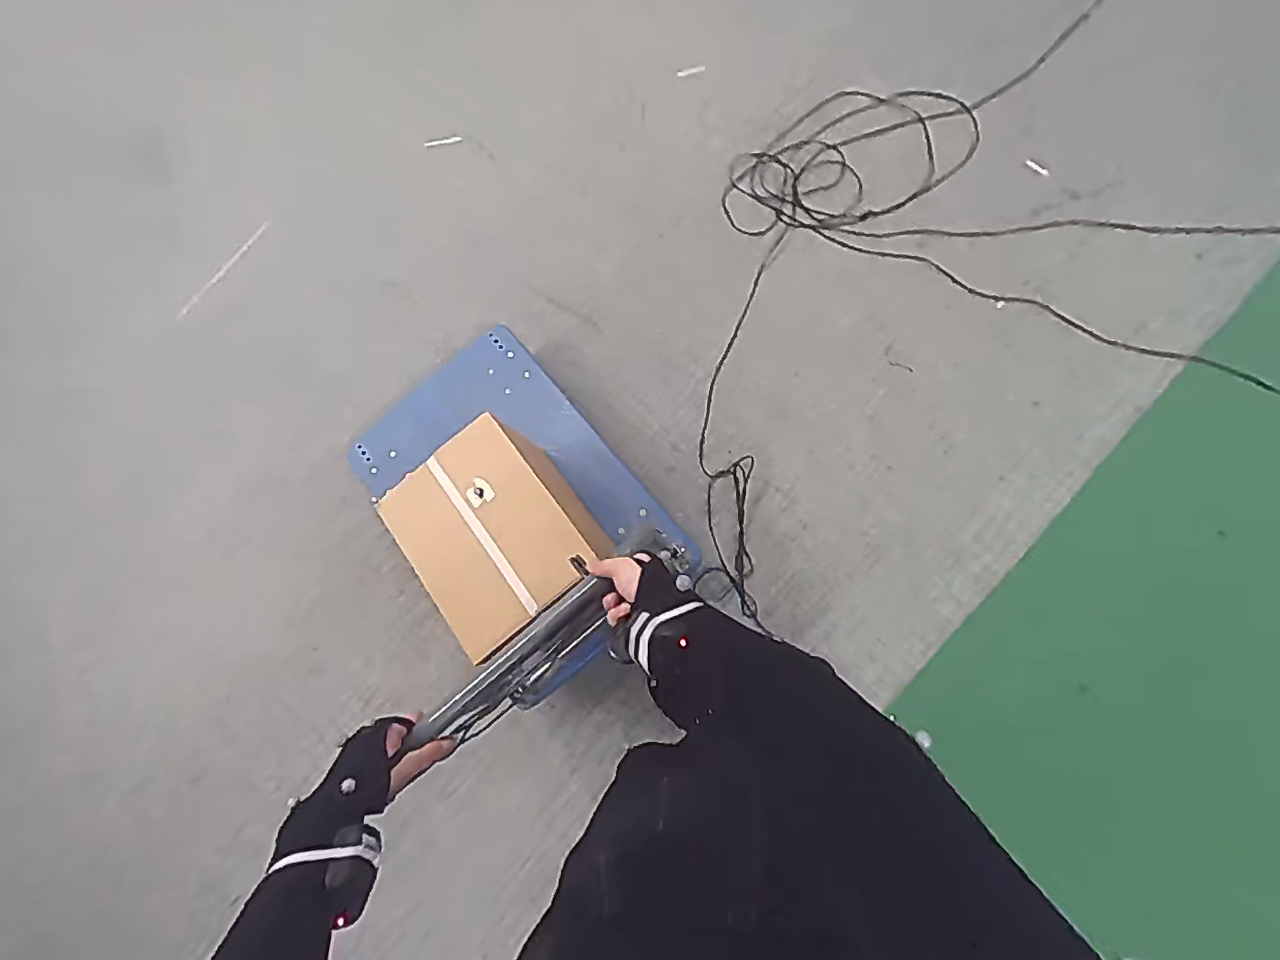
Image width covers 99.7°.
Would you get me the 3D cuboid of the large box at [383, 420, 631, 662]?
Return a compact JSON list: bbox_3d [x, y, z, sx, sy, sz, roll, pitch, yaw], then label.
[{"bbox_3d":[-0.280,0.143,1.231,0.320,0.320,0.408,-39,74,0],"label":"large box"}]
